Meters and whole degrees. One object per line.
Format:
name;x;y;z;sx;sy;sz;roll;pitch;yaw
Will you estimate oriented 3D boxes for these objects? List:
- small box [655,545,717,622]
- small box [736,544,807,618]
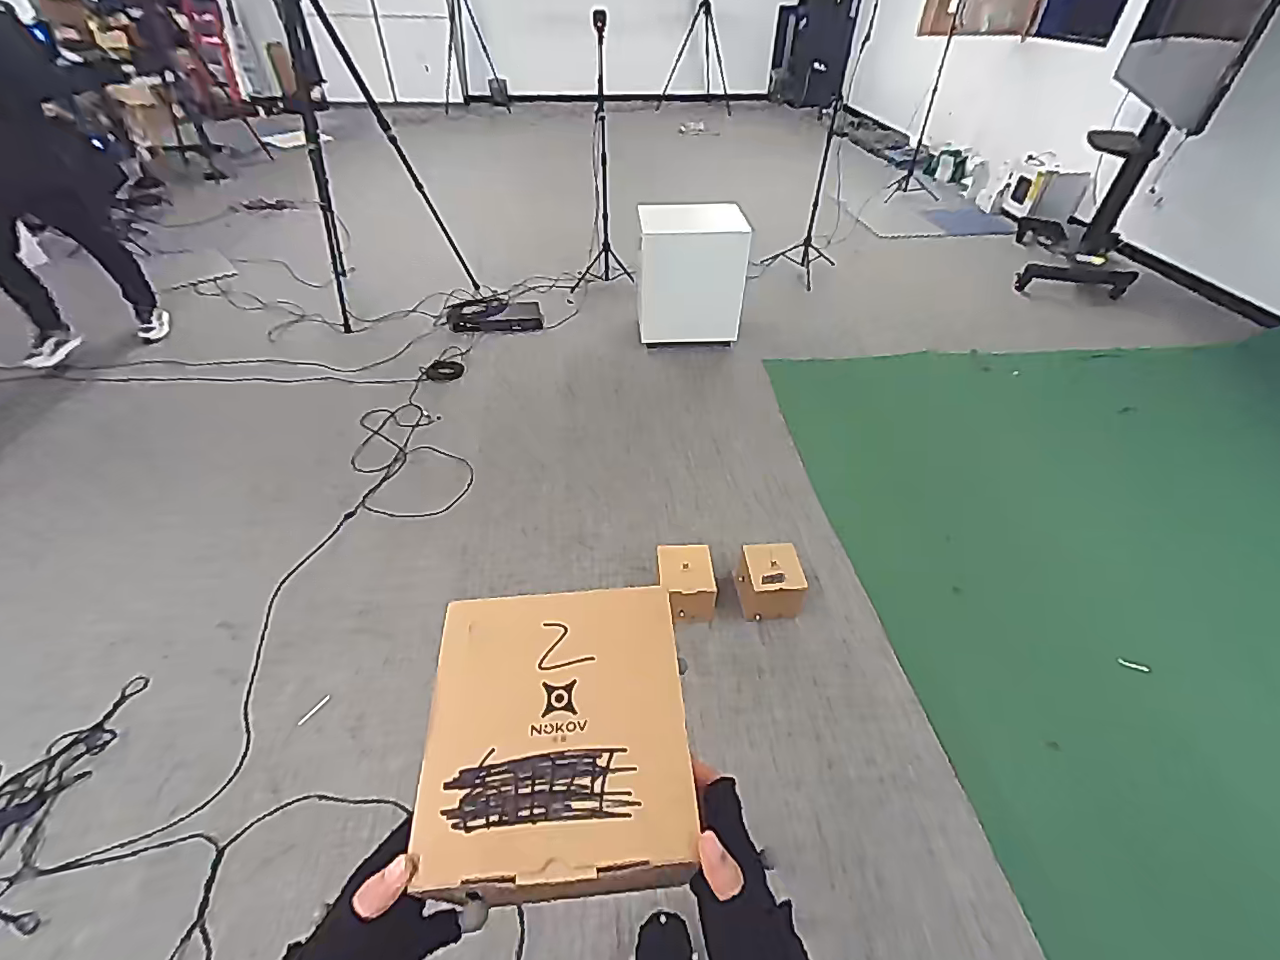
small box;0.138;0.324;1.693;0.168;0.176;0.179;-2;44;-3
small box;0.407;0.322;1.702;0.168;0.176;0.179;-2;43;-4
